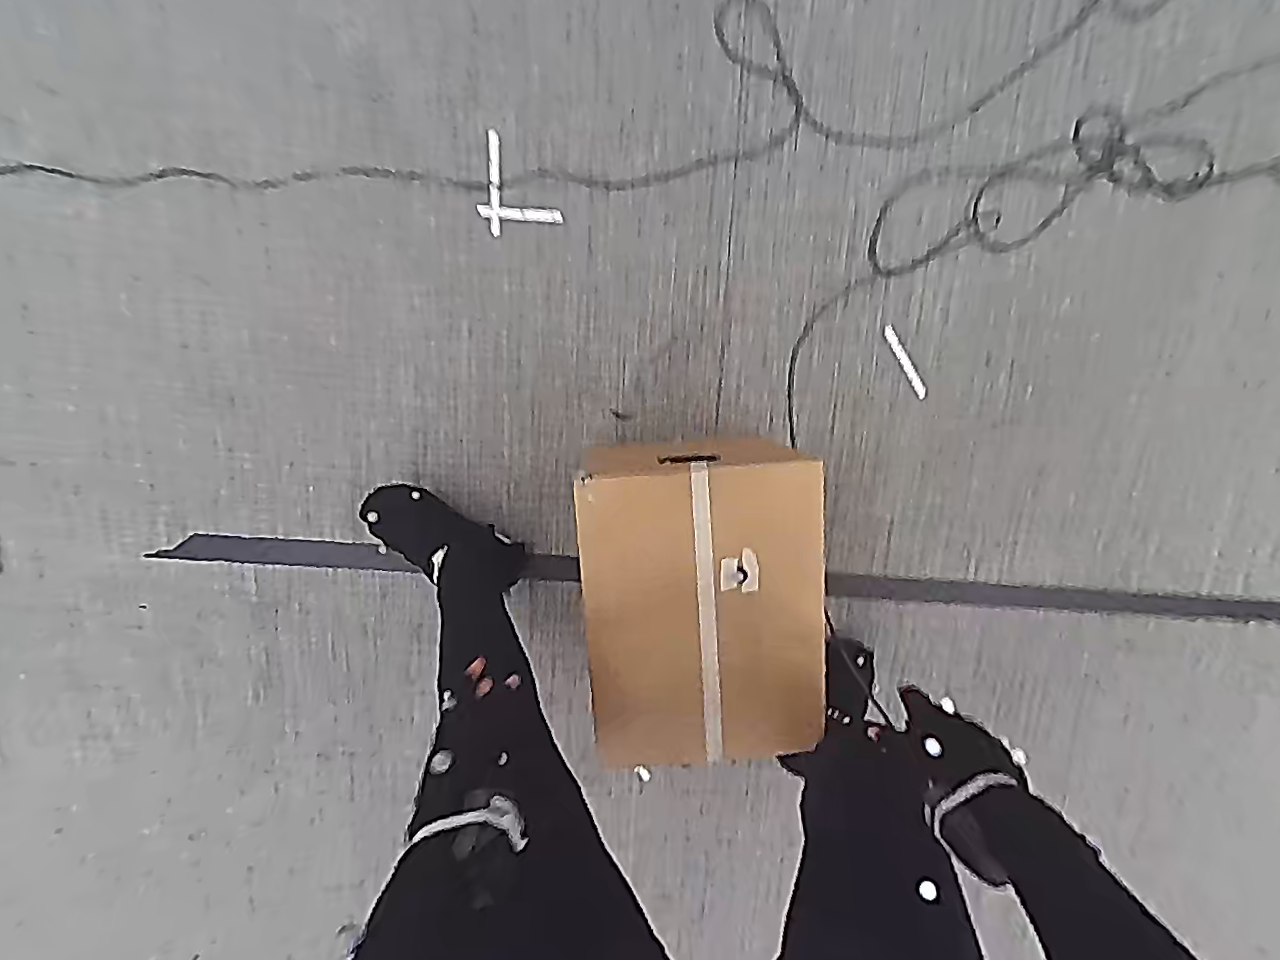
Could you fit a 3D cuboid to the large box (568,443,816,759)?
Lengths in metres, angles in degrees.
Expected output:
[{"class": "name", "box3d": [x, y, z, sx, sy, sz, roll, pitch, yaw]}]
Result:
[{"class": "large box", "box3d": [0.075, 0.160, 0.863, 0.320, 0.320, 0.408, -4, 99, -1]}]
